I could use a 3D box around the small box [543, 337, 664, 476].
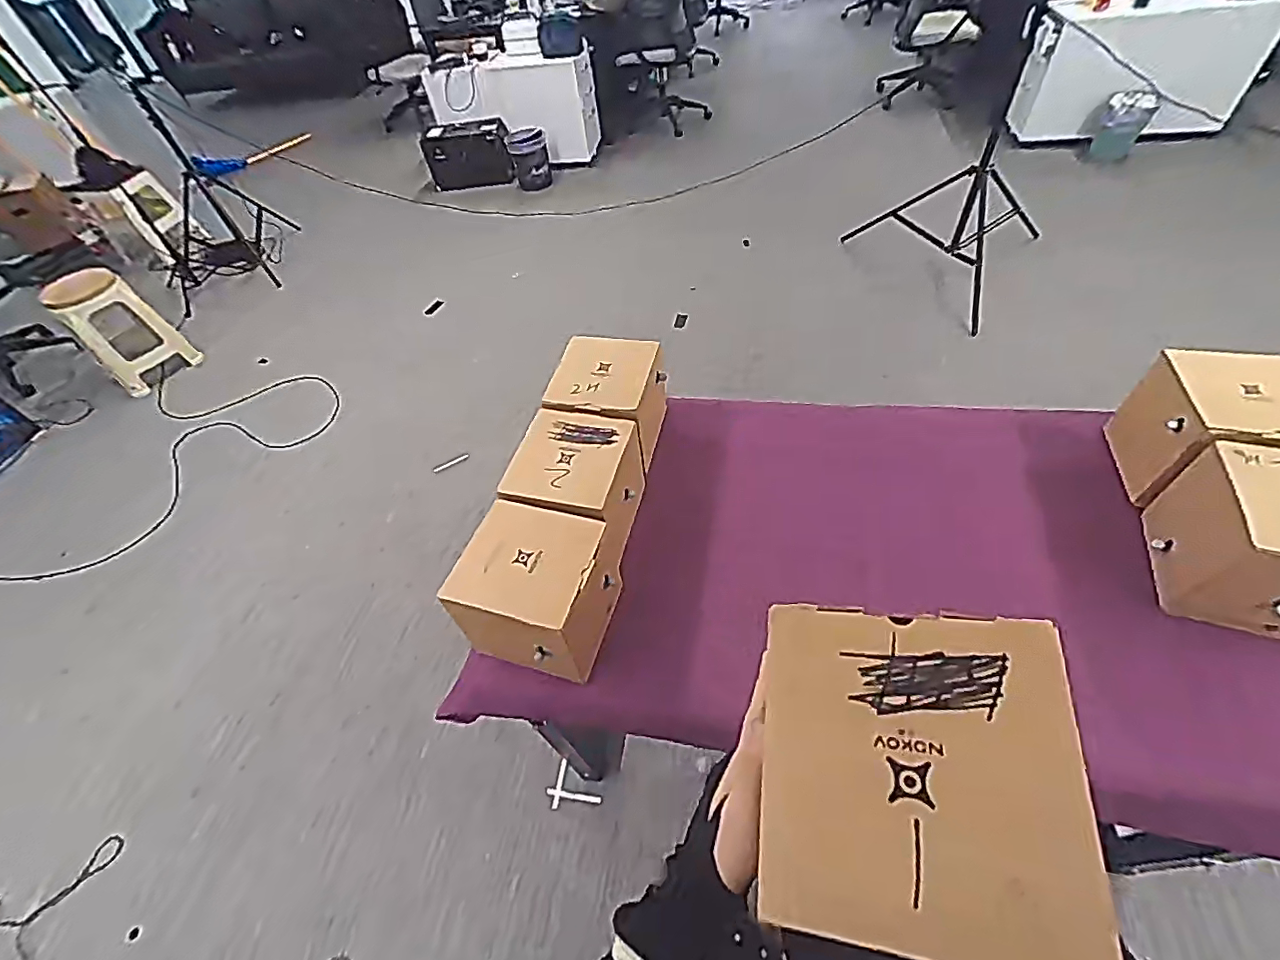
[{"bbox_3d":[-0.054,-0.133,0.981,0.168,0.176,0.179,8,53,14],"label":"small box"}]

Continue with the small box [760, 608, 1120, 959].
[{"bbox_3d":[0.179,0.202,0.373,0.168,0.176,0.179,-1,61,20],"label":"small box"}]

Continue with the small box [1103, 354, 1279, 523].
[{"bbox_3d":[0.845,-0.062,0.808,0.168,0.176,0.179,8,52,13],"label":"small box"}]
